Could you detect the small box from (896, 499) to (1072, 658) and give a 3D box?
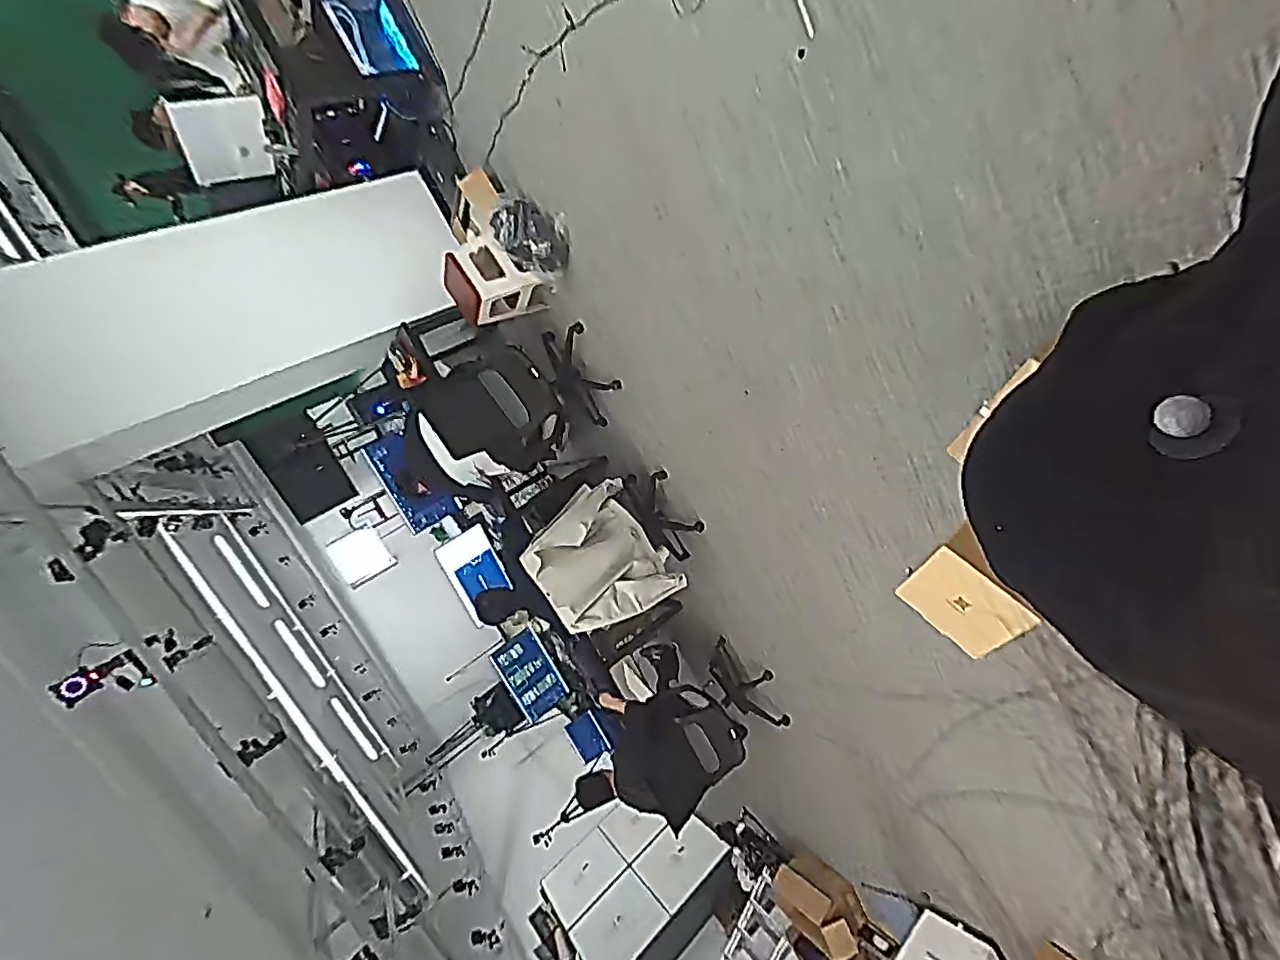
[{"bbox_3d":[0.587,0.164,0.923,0.168,0.176,0.179,44,151,25],"label":"small box"}]
